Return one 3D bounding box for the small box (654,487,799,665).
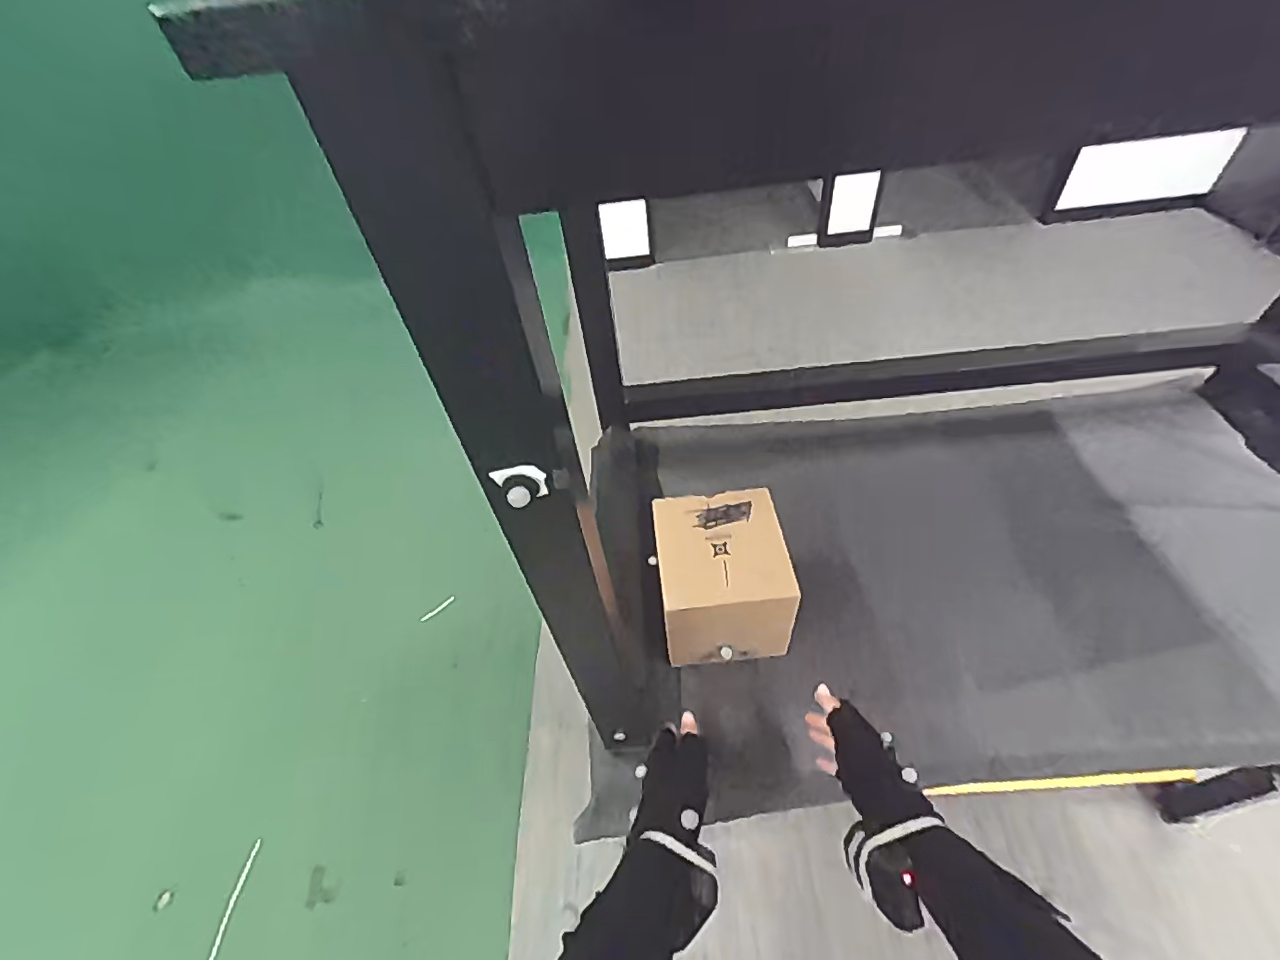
[{"bbox_3d":[0.111,0.135,0.758,0.168,0.176,0.179,-7,48,1],"label":"small box"}]
